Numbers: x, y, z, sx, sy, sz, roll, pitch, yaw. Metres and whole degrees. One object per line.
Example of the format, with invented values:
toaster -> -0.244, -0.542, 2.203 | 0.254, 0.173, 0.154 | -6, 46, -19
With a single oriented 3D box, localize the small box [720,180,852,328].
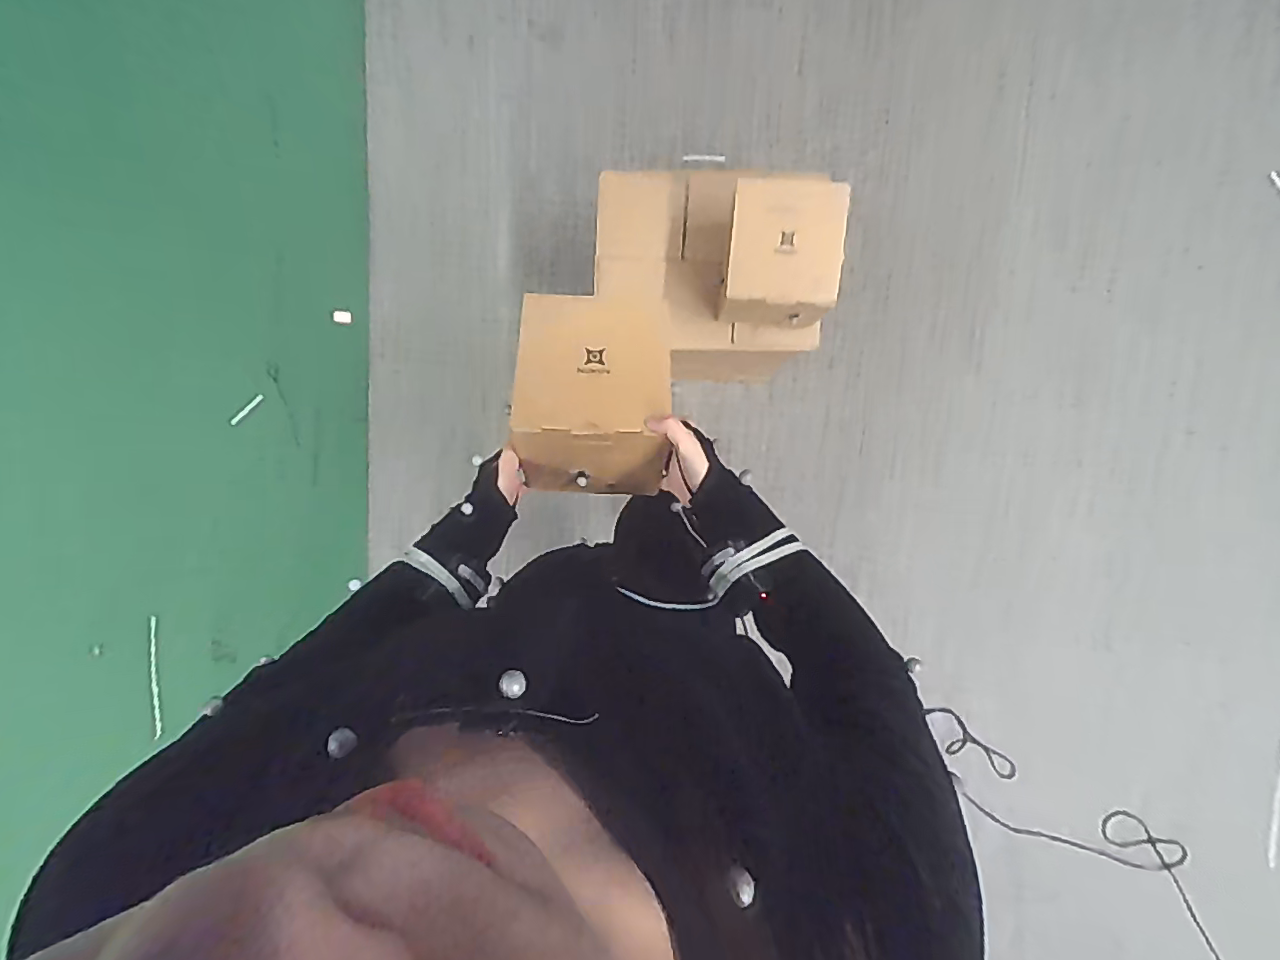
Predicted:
small box -> 0.223, -0.351, 0.870 | 0.168, 0.176, 0.179 | 6, 94, 3

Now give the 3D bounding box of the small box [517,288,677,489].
small box -> -0.050, -0.103, 0.653 | 0.168, 0.176, 0.179 | 1, 68, -4
